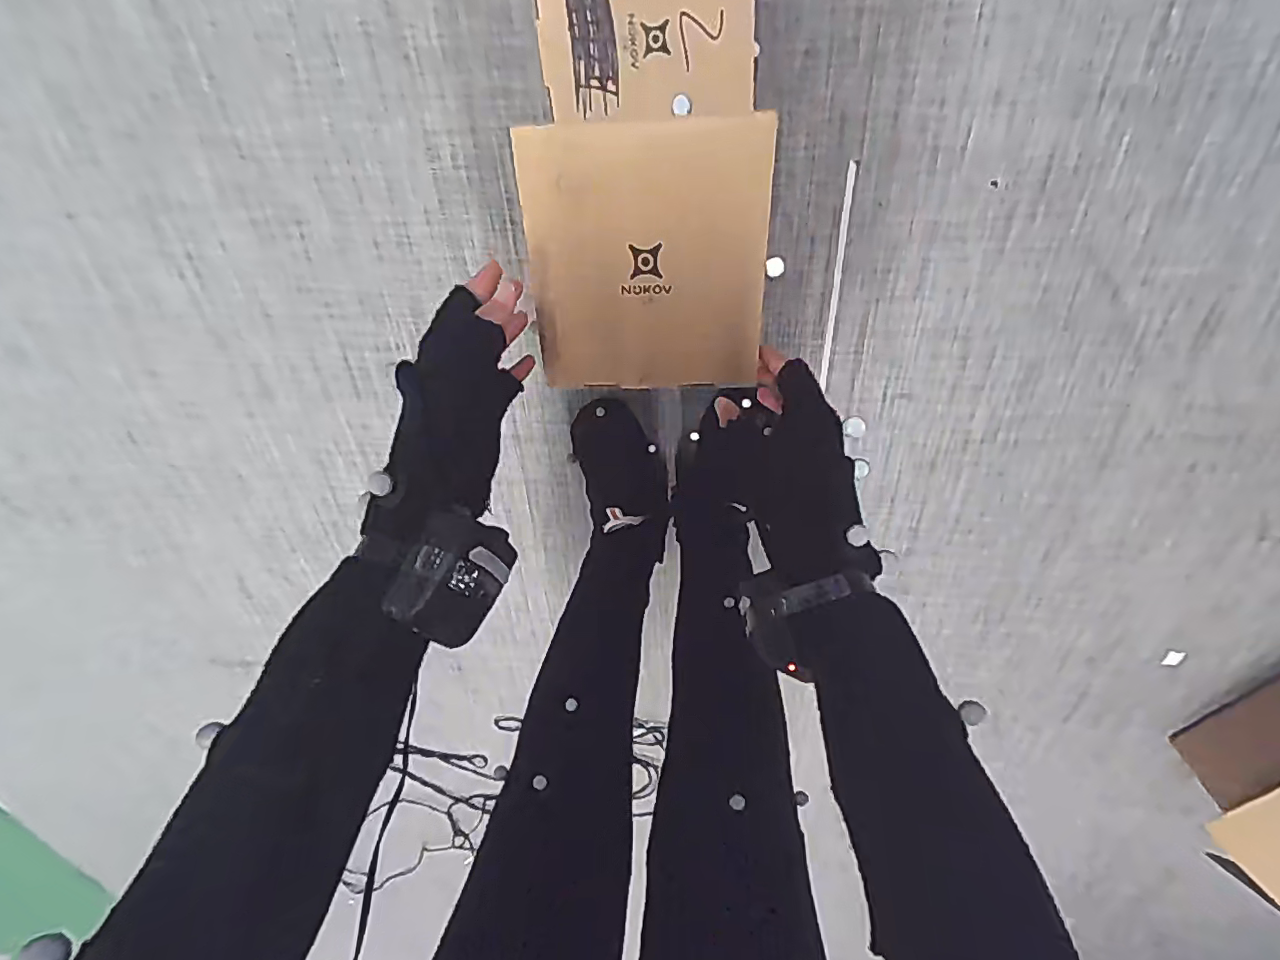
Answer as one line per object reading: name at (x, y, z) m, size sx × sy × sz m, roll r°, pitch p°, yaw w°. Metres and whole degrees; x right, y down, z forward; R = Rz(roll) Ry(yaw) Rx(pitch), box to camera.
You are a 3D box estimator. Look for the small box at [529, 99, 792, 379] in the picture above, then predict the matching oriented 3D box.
small box at (0.020, -0.195, 0.440) m, size 0.168 × 0.176 × 0.179 m, roll 1°, pitch 123°, yaw 6°
